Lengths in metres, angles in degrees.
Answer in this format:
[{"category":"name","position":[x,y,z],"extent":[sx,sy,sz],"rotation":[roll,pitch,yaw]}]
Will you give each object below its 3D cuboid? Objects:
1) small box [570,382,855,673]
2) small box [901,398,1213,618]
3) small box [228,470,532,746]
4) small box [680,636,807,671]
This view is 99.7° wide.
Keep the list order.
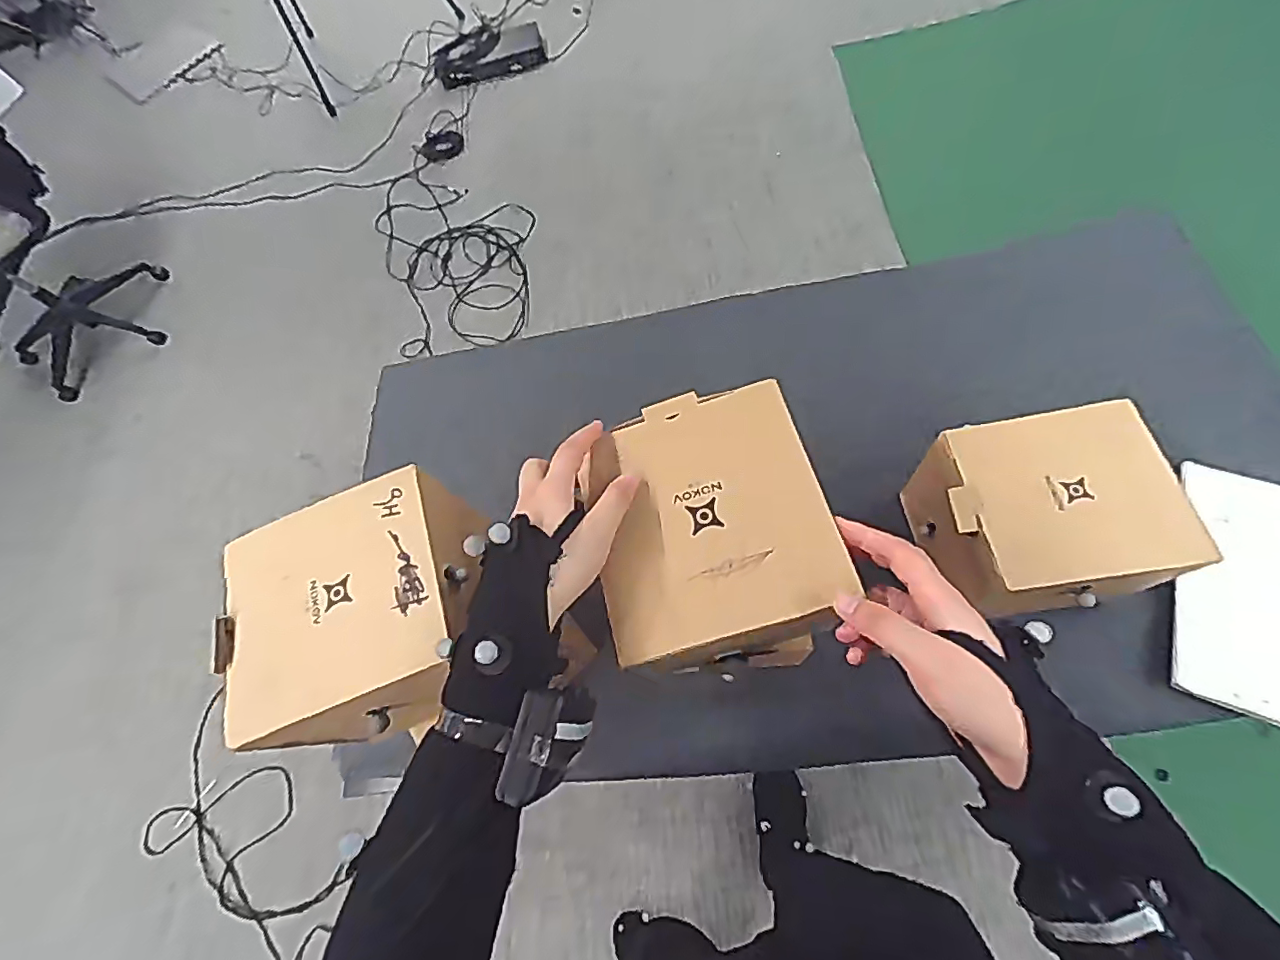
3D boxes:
[{"category":"small box","position":[0.056,0.052,0.457],"extent":[0.168,0.176,0.179],"rotation":[-18,66,5]},{"category":"small box","position":[0.404,0.040,0.568],"extent":[0.179,0.176,0.168],"rotation":[-12,64,8]},{"category":"small box","position":[-0.223,0.122,0.487],"extent":[0.179,0.176,0.168],"rotation":[-23,64,2]},{"category":"small box","position":[0.084,0.113,0.606],"extent":[0.168,0.176,0.179],"rotation":[-8,66,10]}]
